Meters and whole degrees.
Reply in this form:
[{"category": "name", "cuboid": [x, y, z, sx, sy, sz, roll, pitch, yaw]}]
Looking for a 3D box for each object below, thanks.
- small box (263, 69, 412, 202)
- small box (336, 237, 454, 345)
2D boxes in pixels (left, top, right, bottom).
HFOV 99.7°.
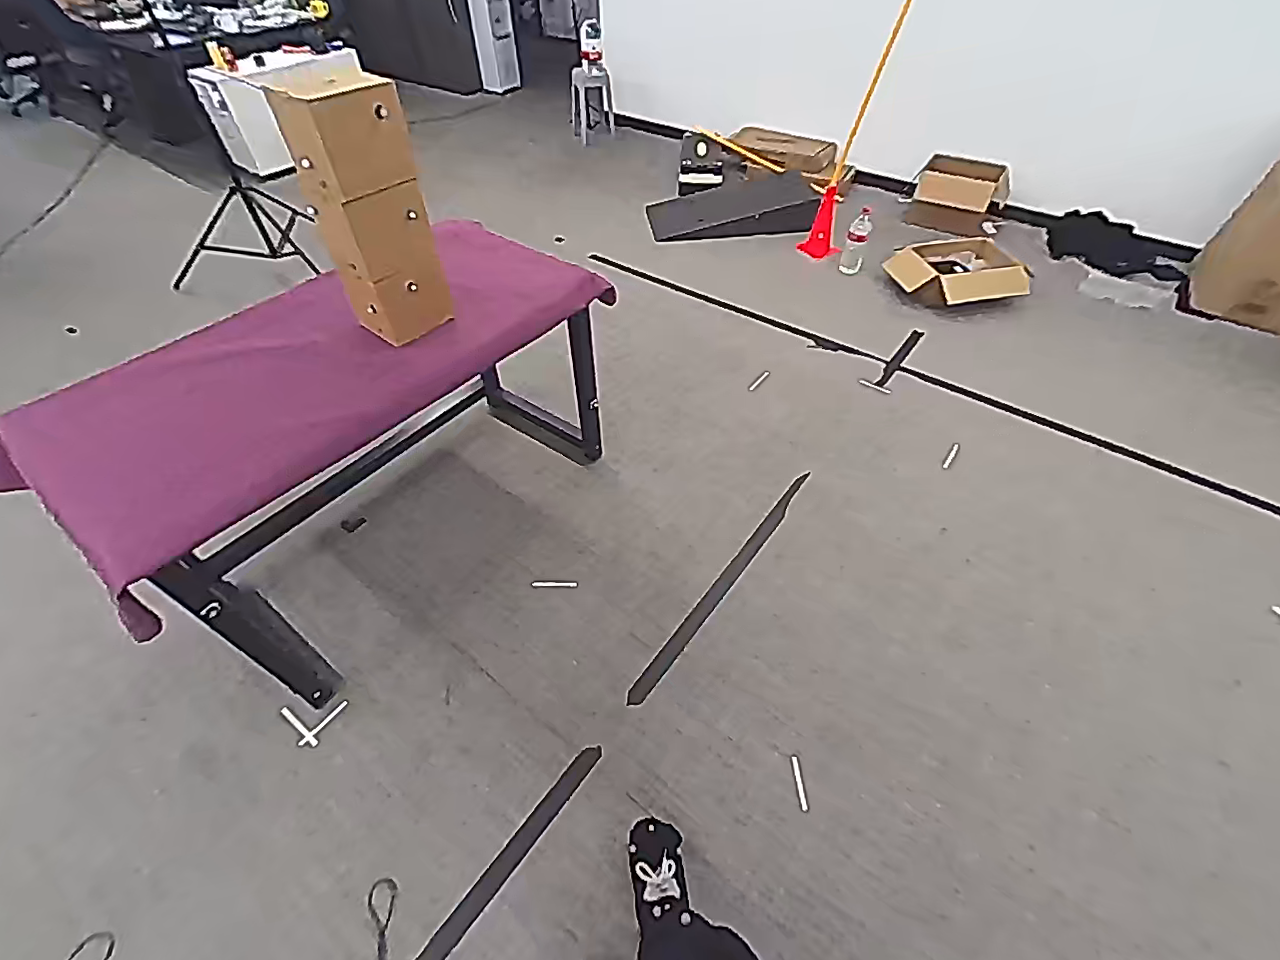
[{"category": "small box", "cuboid": [-0.574, -0.673, 1.057, 0.168, 0.176, 0.179, 31, 56, 25]}, {"category": "small box", "cuboid": [-0.580, -0.452, 1.302, 0.168, 0.176, 0.179, 32, 56, 24]}]
